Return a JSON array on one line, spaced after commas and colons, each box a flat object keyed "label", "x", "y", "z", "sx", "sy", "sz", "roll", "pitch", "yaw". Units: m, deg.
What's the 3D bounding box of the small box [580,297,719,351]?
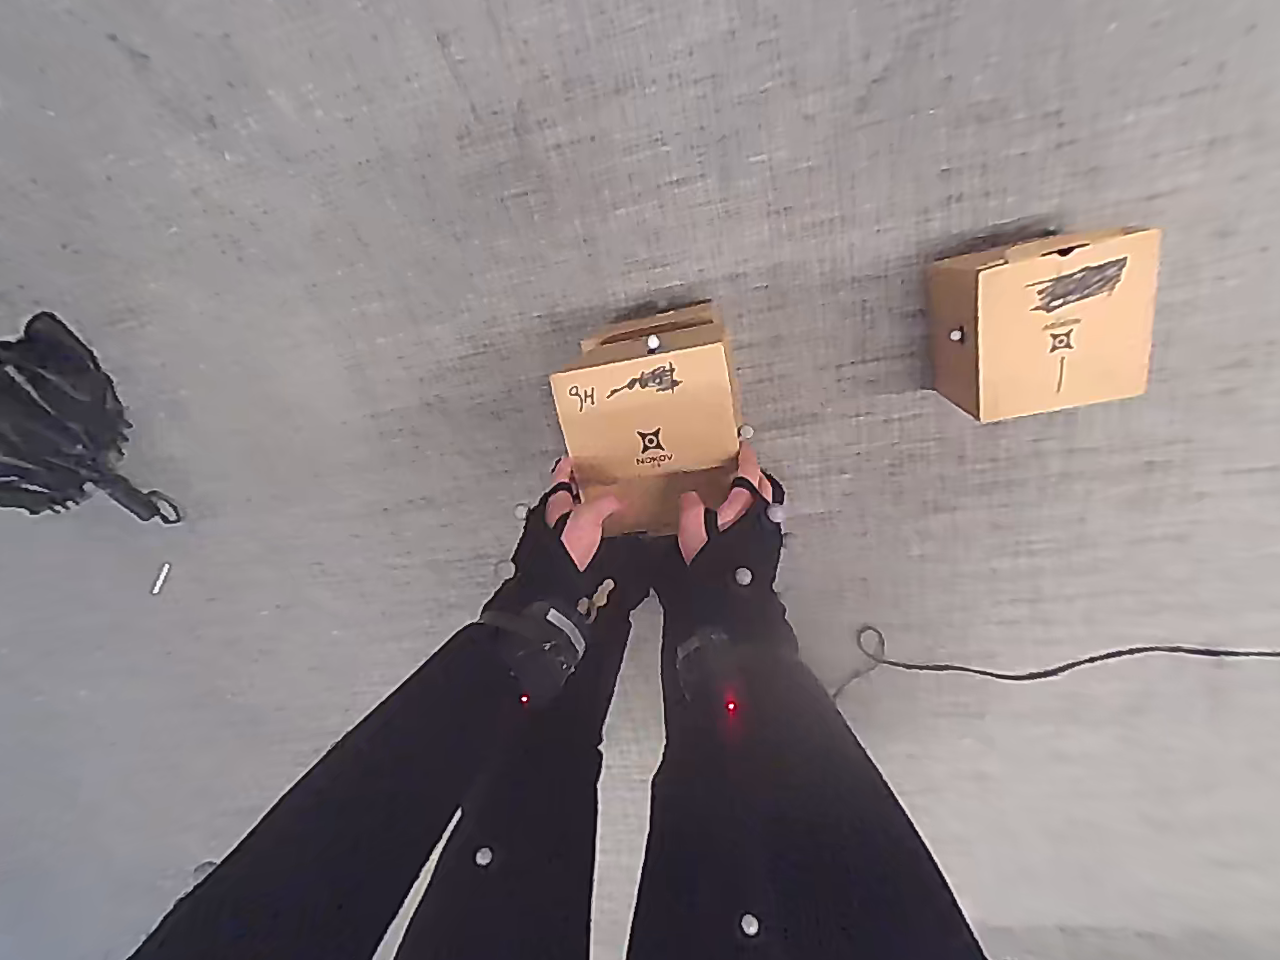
[{"label": "small box", "x": 0.035, "y": -0.140, "z": 0.744, "sx": 0.168, "sy": 0.176, "sz": 0.179, "roll": -10, "pitch": 111, "yaw": 13}]

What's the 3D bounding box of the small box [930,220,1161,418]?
[{"label": "small box", "x": 0.461, "y": -0.193, "z": 0.644, "sx": 0.168, "sy": 0.176, "sz": 0.179, "roll": -10, "pitch": 112, "yaw": 15}]

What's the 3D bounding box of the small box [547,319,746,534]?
[{"label": "small box", "x": 0.023, "y": -0.063, "z": 0.584, "sx": 0.168, "sy": 0.176, "sz": 0.179, "roll": -8, "pitch": 111, "yaw": 13}]
